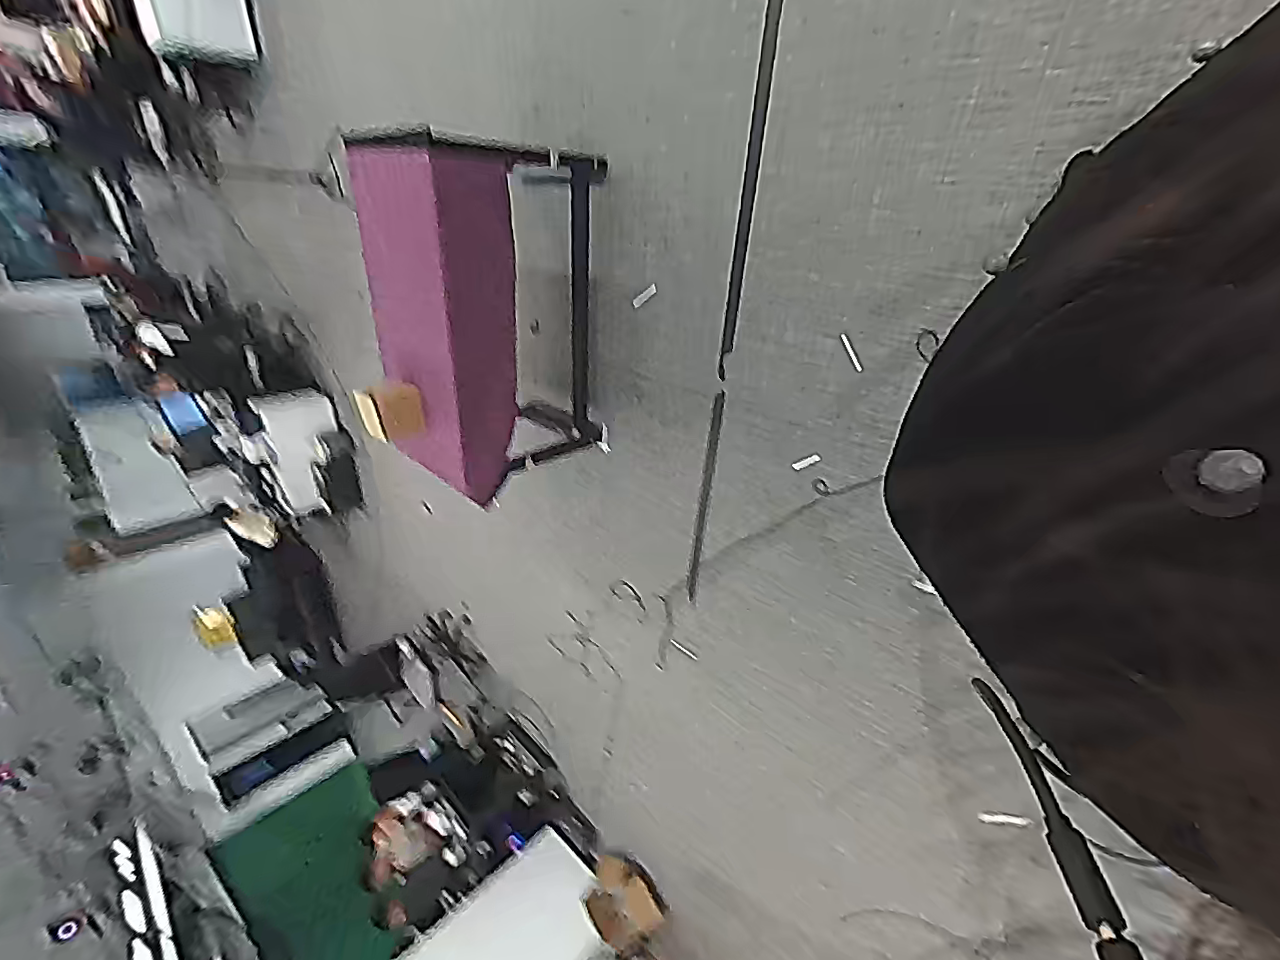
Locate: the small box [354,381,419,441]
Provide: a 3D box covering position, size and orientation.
[{"bbox_3d":[-0.977,-0.273,2.095,0.168,0.176,0.179,22,122,37],"label":"small box"}]
